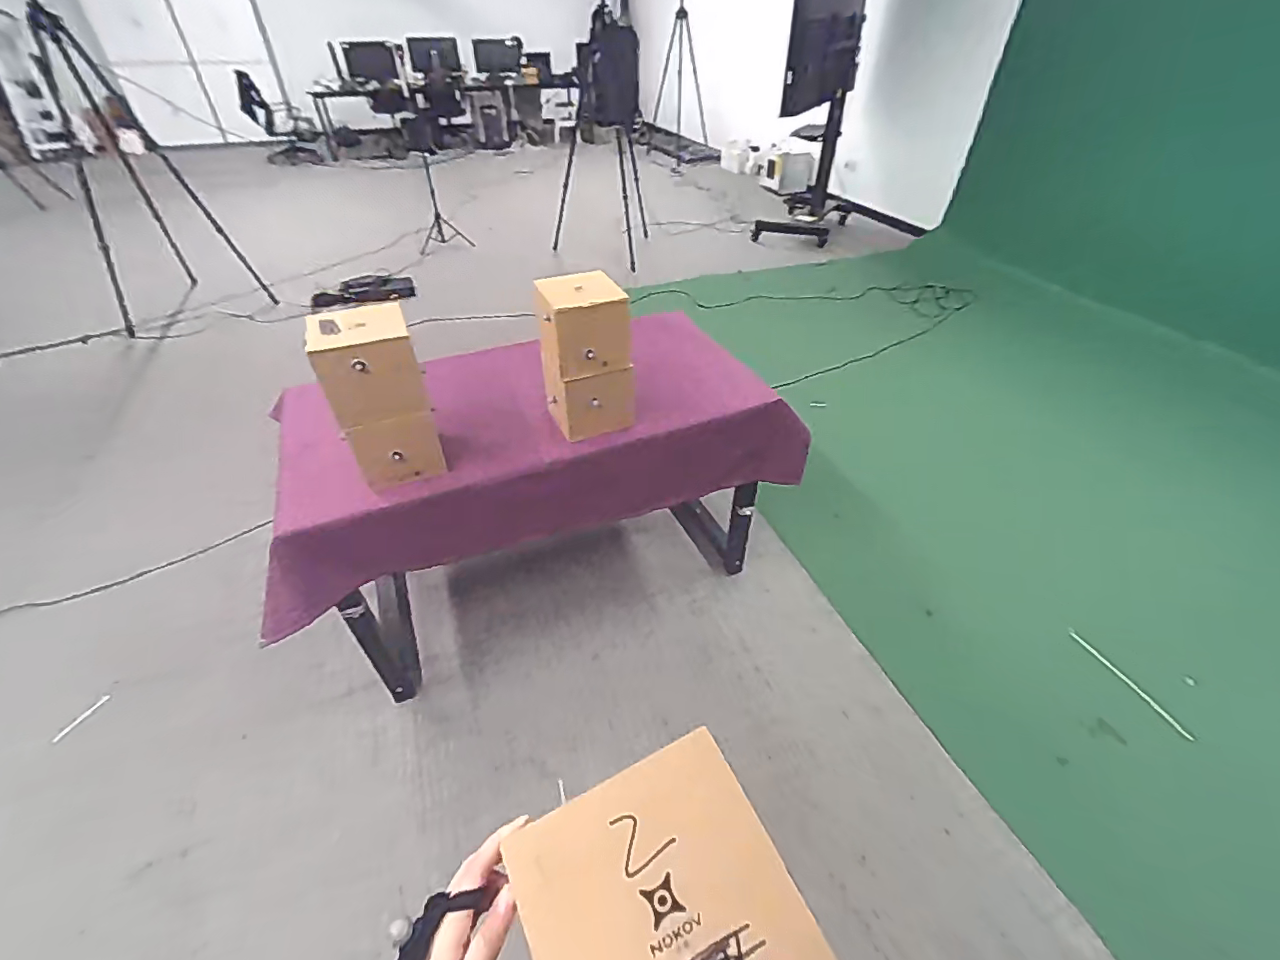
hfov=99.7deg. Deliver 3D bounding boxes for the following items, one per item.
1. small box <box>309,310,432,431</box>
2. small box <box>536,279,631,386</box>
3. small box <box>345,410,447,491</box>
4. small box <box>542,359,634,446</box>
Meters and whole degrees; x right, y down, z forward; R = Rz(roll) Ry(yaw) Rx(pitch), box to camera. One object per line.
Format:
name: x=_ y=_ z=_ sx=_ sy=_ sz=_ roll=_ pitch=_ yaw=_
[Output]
small box: x=-0.535 y=-0.218 z=1.083 sx=0.179 sy=0.176 sz=0.168 roll=-16 pitch=43 yaw=-19
small box: x=-0.129 y=-0.334 z=1.222 sx=0.168 sy=0.176 sz=0.179 roll=-16 pitch=43 yaw=-18
small box: x=-0.535 y=-0.093 z=1.190 sx=0.168 sy=0.176 sz=0.179 roll=-16 pitch=42 yaw=-18
small box: x=-0.123 y=-0.206 z=1.323 sx=0.179 sy=0.176 sz=0.168 roll=-17 pitch=44 yaw=-18
